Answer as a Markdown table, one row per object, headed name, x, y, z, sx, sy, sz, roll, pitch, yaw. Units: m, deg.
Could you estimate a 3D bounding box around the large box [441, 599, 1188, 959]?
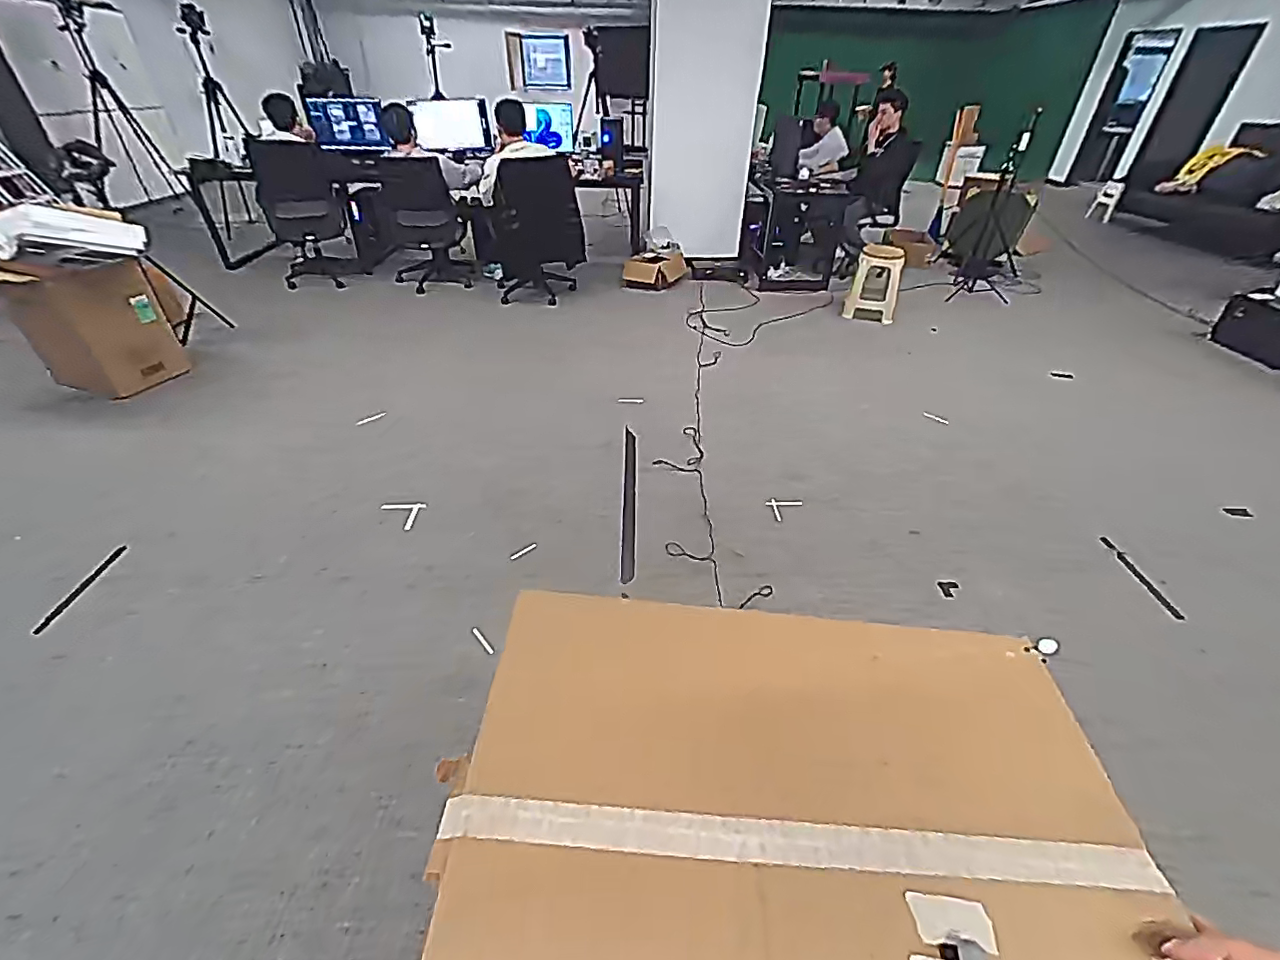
| name | x | y | z | sx | sy | sz | roll | pitch | yaw |
| --- | --- | --- | --- | --- | --- | --- | --- | --- | --- |
| large box | 0.084 | 0.323 | 0.417 | 0.408 | 0.320 | 0.320 | 6 | 43 | -2 |
